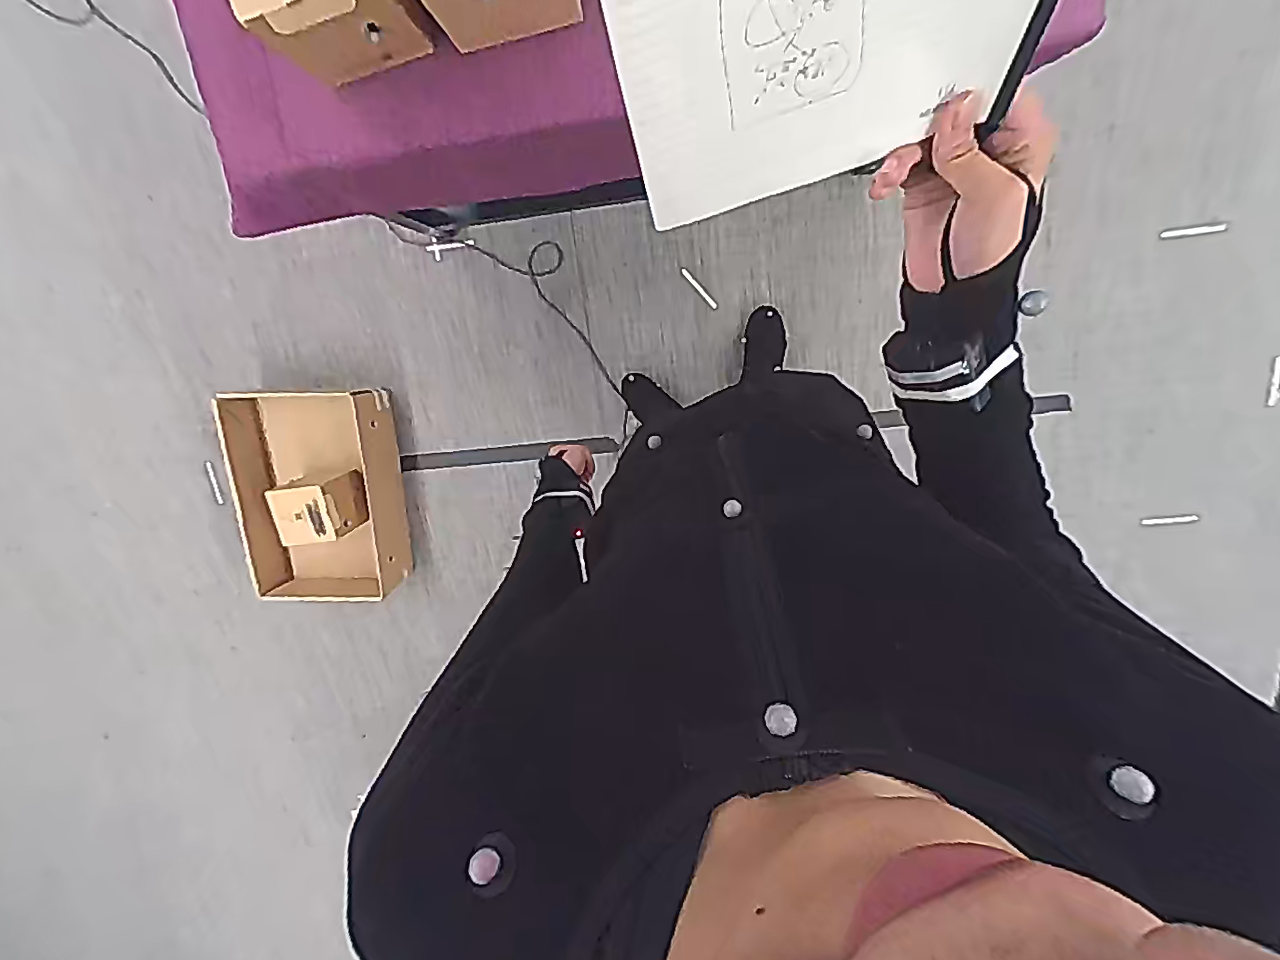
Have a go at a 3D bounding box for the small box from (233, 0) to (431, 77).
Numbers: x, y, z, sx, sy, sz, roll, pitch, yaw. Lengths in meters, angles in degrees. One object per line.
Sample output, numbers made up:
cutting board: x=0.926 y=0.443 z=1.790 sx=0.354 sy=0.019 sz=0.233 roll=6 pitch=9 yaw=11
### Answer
small box: x=-0.382 y=-0.627 z=0.652 sx=0.168 sy=0.176 sz=0.179 roll=-14 pitch=104 yaw=6
